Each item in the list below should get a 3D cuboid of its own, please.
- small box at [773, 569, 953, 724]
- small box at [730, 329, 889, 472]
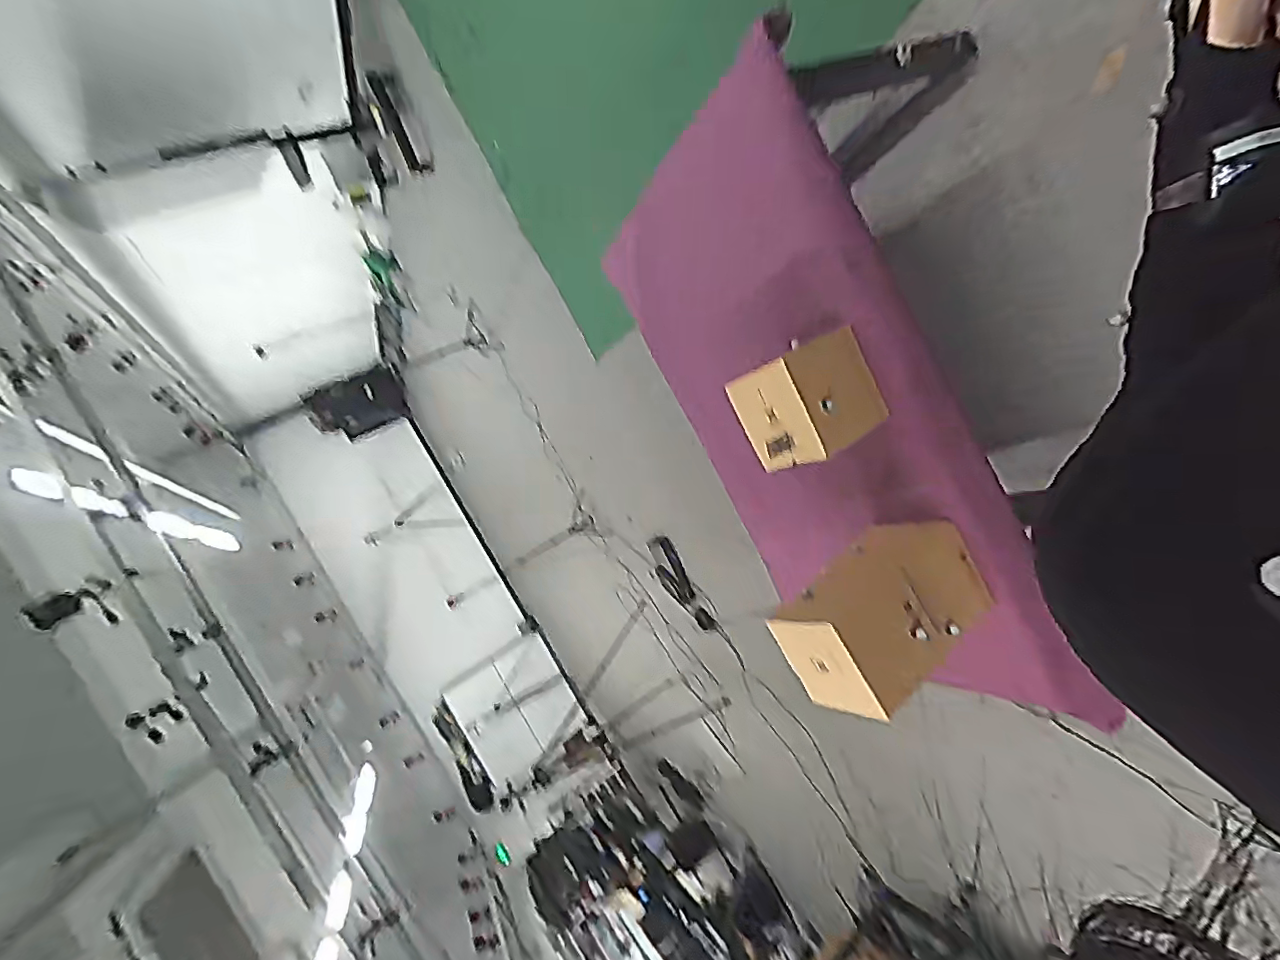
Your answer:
[{"bbox_3d":[0.360,0.261,0.885,0.168,0.176,0.179,59,156,0],"label":"small box"},{"bbox_3d":[0.299,-0.136,0.952,0.179,0.176,0.168,62,155,-5],"label":"small box"}]
